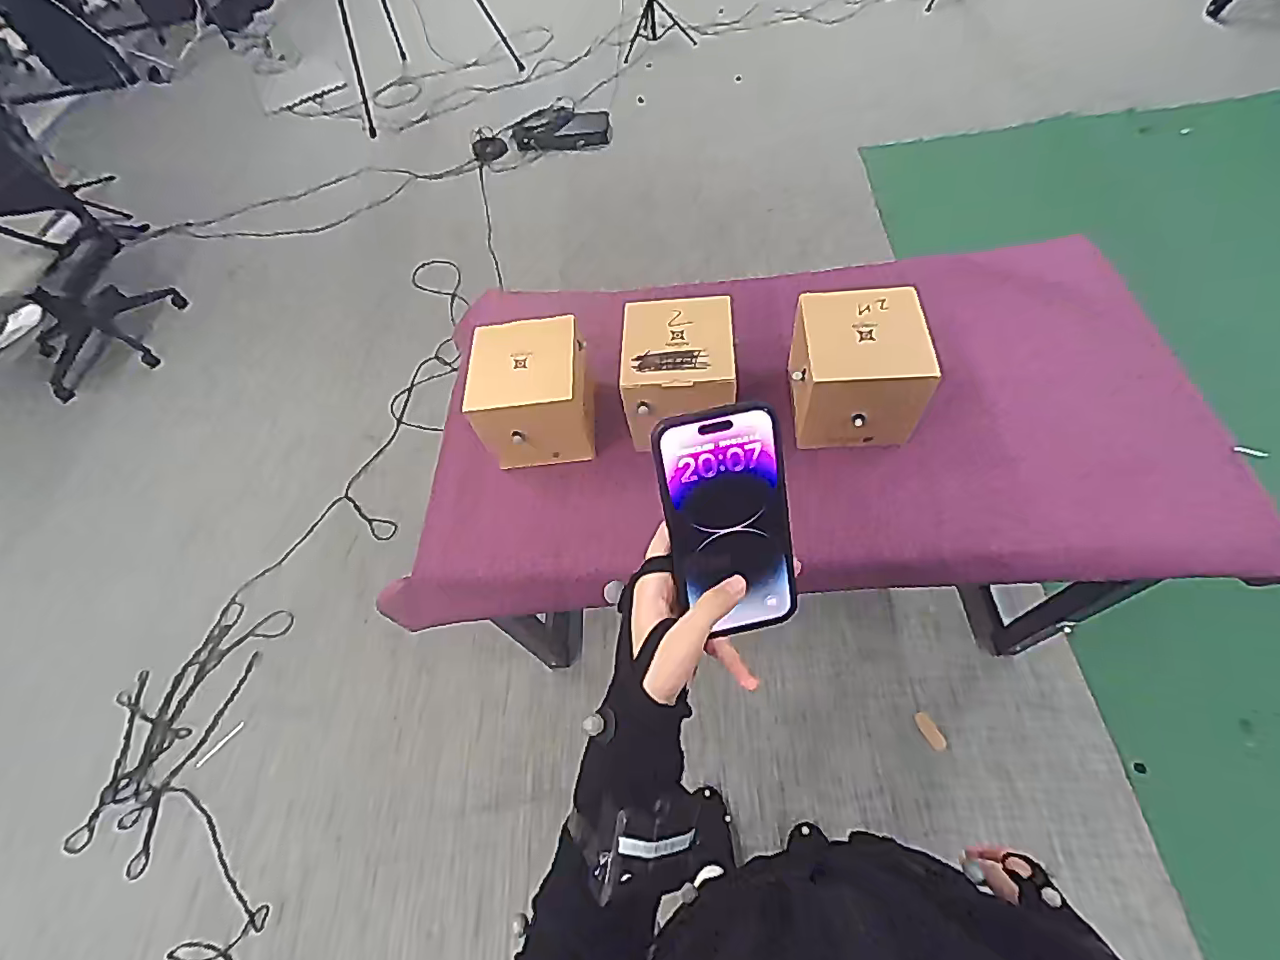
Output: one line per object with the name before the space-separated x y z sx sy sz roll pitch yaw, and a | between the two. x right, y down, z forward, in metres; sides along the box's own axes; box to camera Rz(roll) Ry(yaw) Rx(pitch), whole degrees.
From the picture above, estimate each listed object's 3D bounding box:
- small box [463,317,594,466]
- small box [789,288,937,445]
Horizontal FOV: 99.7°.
small box | -0.171 -0.135 0.886 0.168 0.176 0.179 -7 58 5
small box | 0.326 -0.165 0.828 0.168 0.176 0.179 -1 59 7
